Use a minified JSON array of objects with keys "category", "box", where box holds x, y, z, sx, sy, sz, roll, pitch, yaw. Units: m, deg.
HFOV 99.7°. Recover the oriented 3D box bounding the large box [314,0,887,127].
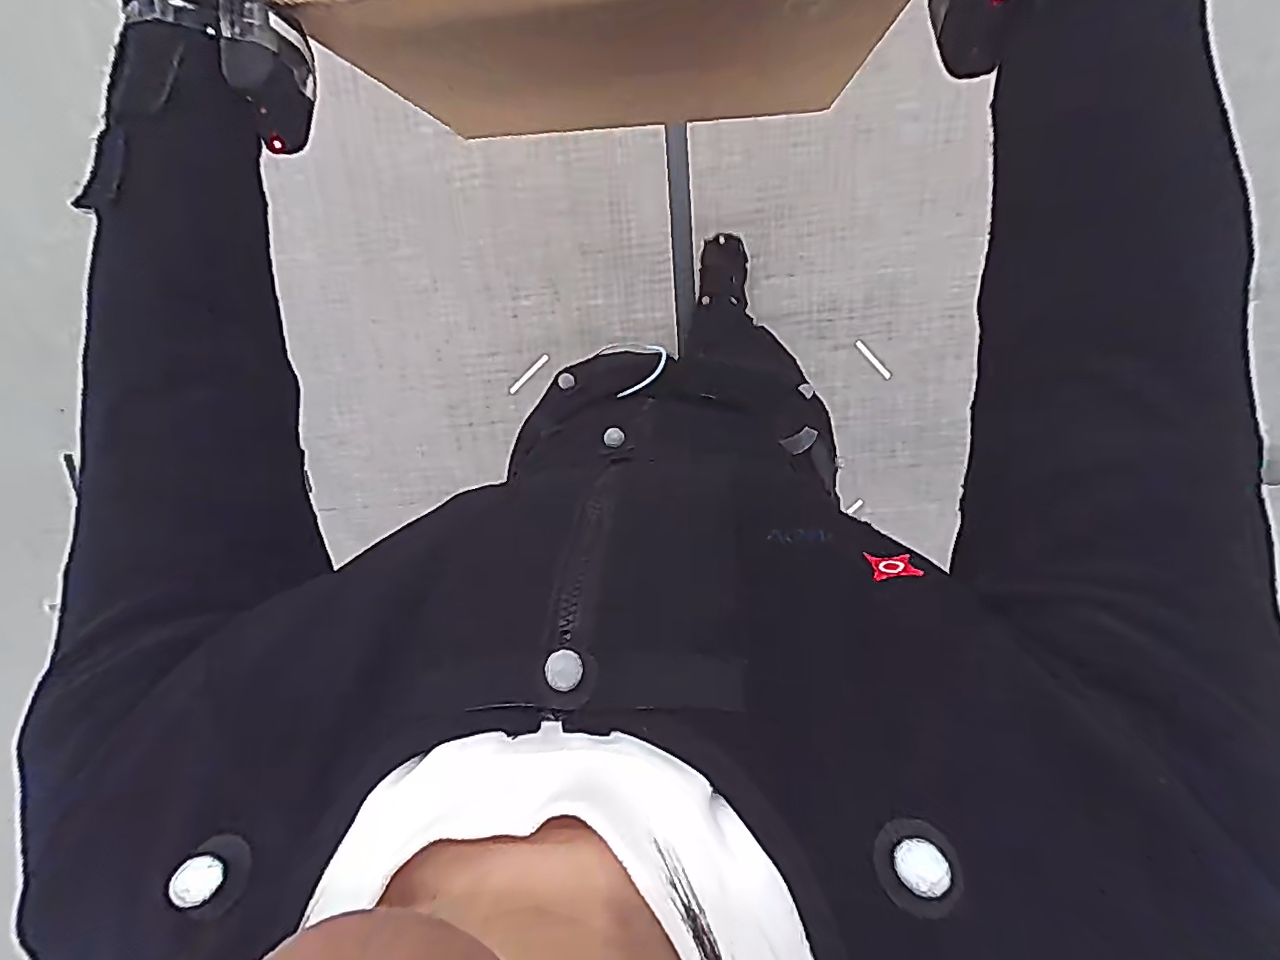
[{"category":"large box","box":[-0.018,-0.498,0.402,0.408,0.320,0.320,-2,110,5]}]
